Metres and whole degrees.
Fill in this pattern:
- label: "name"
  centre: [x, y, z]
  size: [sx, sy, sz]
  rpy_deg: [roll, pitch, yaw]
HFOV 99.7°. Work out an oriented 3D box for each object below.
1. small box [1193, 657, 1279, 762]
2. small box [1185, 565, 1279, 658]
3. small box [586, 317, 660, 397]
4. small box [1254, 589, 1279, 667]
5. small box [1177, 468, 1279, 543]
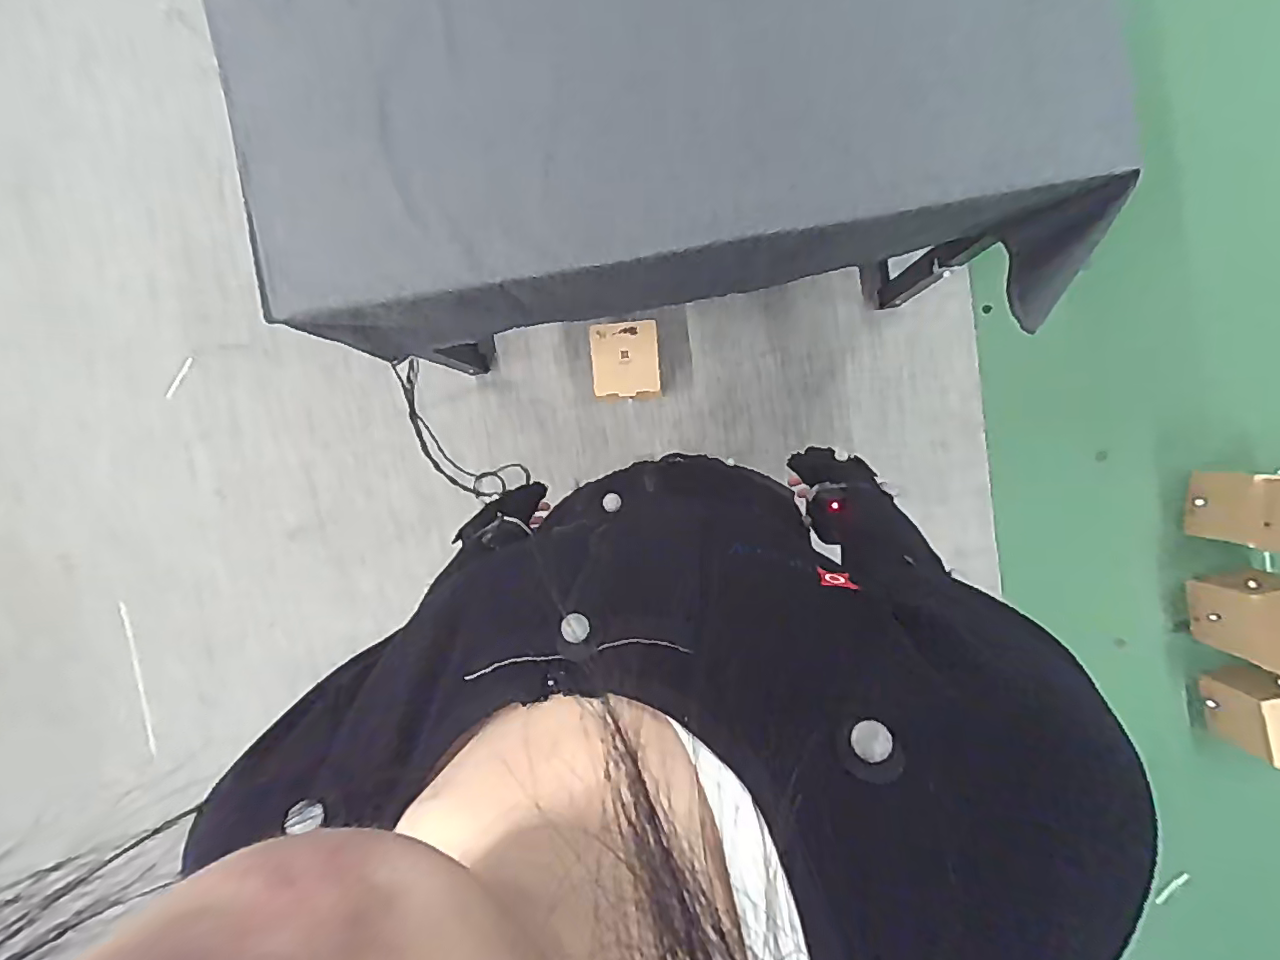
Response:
- label: "small box"
  centre: [1.548, 0.559, 1.339]
  size: [0.179, 0.176, 0.168]
  rpy_deg: [-13, 93, 4]
- label: "small box"
  centre: [1.499, 0.316, 1.326]
  size: [0.179, 0.176, 0.168]
  rpy_deg: [-10, 93, 3]
- label: "small box"
  centre: [-0.039, -0.305, 1.380]
  size: [0.168, 0.176, 0.179]
  rpy_deg: [-4, 94, 4]
- label: "small box"
  centre: [1.495, 0.333, 1.164]
  size: [0.168, 0.176, 0.179]
  rpy_deg: [-7, 94, 4]
- label: "small box"
  centre: [1.480, 0.059, 1.312]
  size: [0.179, 0.176, 0.168]
  rpy_deg: [3, 93, 5]
